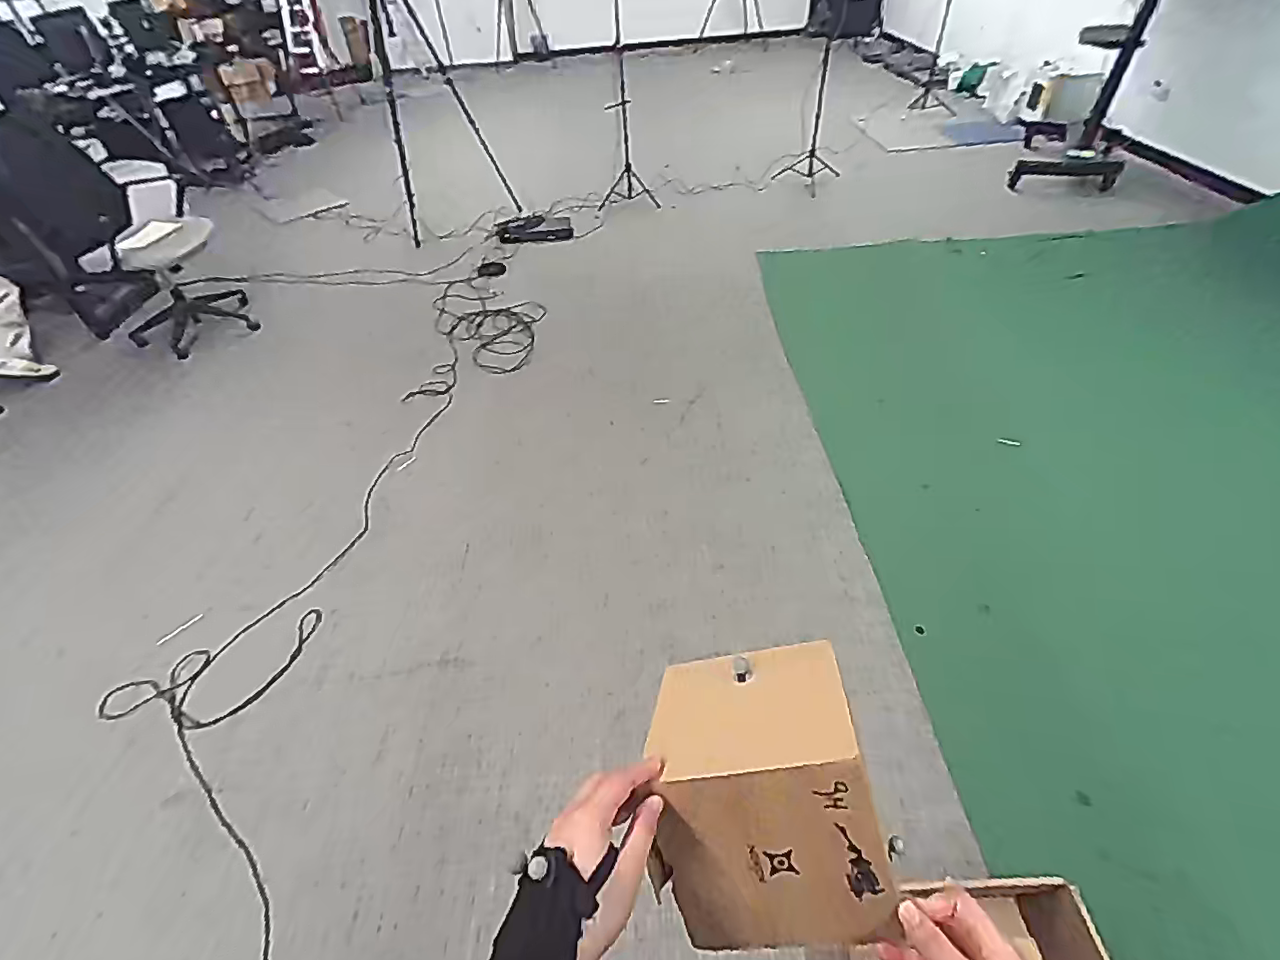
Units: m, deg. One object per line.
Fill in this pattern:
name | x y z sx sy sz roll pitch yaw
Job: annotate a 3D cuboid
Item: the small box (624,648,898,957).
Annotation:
small box | 0.107 0.275 0.487 0.179 0.168 0.176 -15 10 15
